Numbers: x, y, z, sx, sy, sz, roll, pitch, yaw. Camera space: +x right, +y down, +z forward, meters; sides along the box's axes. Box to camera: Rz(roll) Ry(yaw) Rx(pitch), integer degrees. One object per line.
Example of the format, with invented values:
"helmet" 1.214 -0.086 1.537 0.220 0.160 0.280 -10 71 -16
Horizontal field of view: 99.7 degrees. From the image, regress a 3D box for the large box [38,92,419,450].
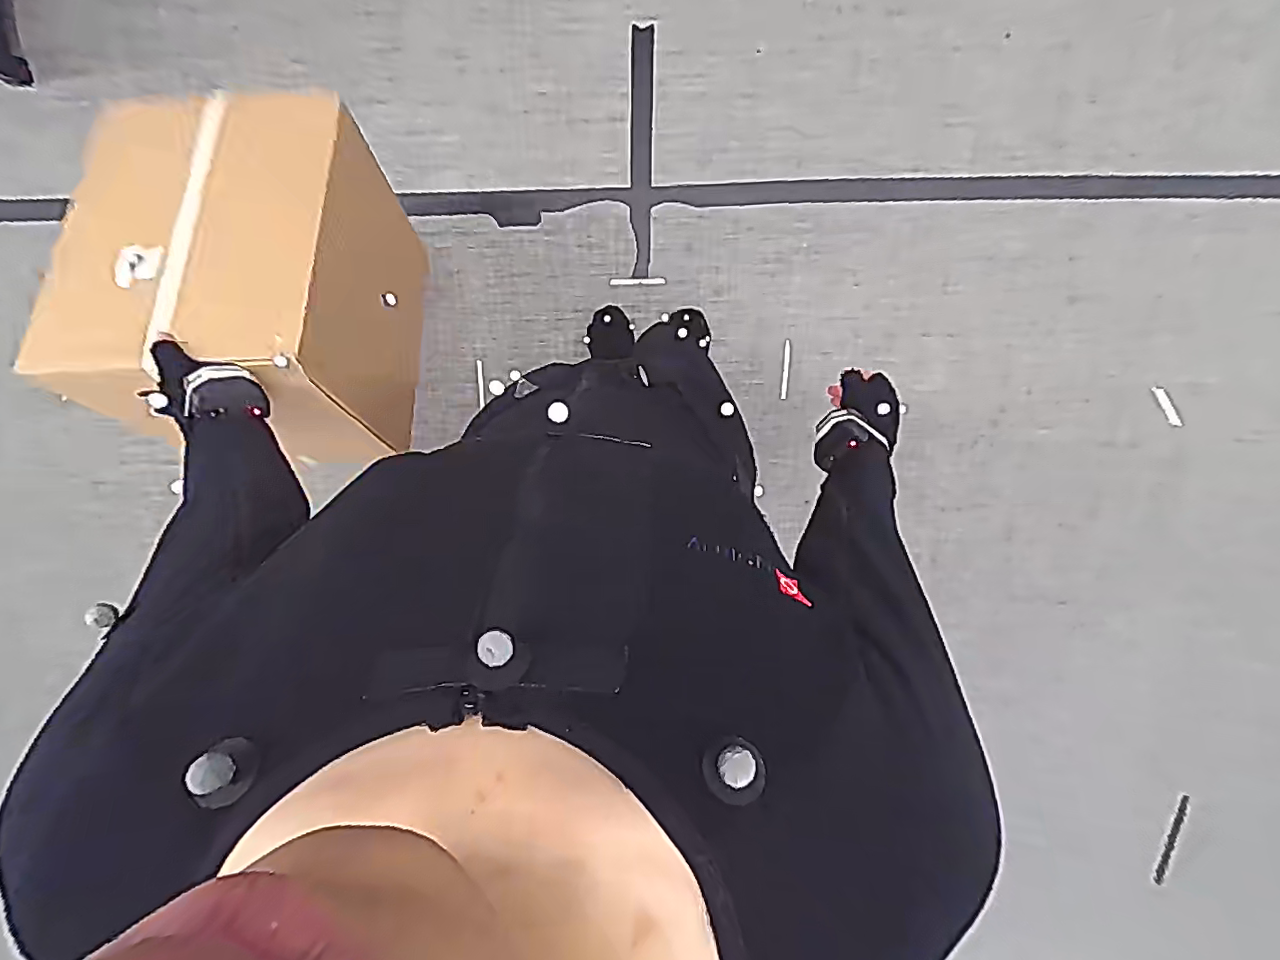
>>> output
"large box" -0.549 -0.284 0.813 0.320 0.320 0.408 -3 75 0
